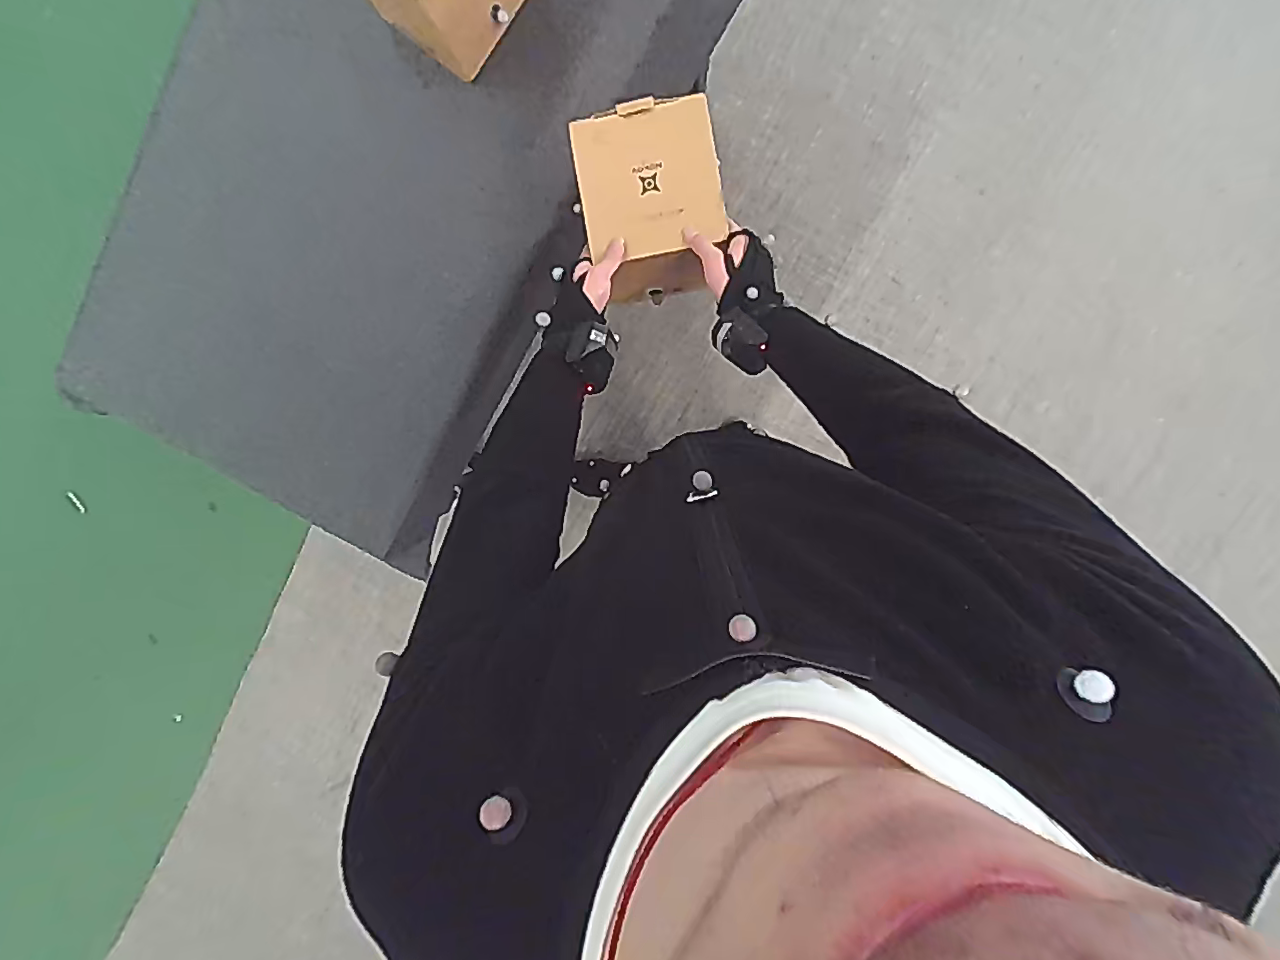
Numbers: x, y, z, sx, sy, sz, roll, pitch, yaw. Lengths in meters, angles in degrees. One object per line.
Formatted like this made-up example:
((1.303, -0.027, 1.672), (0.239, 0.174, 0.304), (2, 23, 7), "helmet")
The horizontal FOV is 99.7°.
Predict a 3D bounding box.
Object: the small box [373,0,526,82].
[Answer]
((-0.263, -0.681, 0.697), (0.168, 0.176, 0.179), (37, 97, -2), "small box")

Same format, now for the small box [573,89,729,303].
((0.018, -0.348, 0.696), (0.168, 0.176, 0.179), (-7, 91, 5), "small box")
